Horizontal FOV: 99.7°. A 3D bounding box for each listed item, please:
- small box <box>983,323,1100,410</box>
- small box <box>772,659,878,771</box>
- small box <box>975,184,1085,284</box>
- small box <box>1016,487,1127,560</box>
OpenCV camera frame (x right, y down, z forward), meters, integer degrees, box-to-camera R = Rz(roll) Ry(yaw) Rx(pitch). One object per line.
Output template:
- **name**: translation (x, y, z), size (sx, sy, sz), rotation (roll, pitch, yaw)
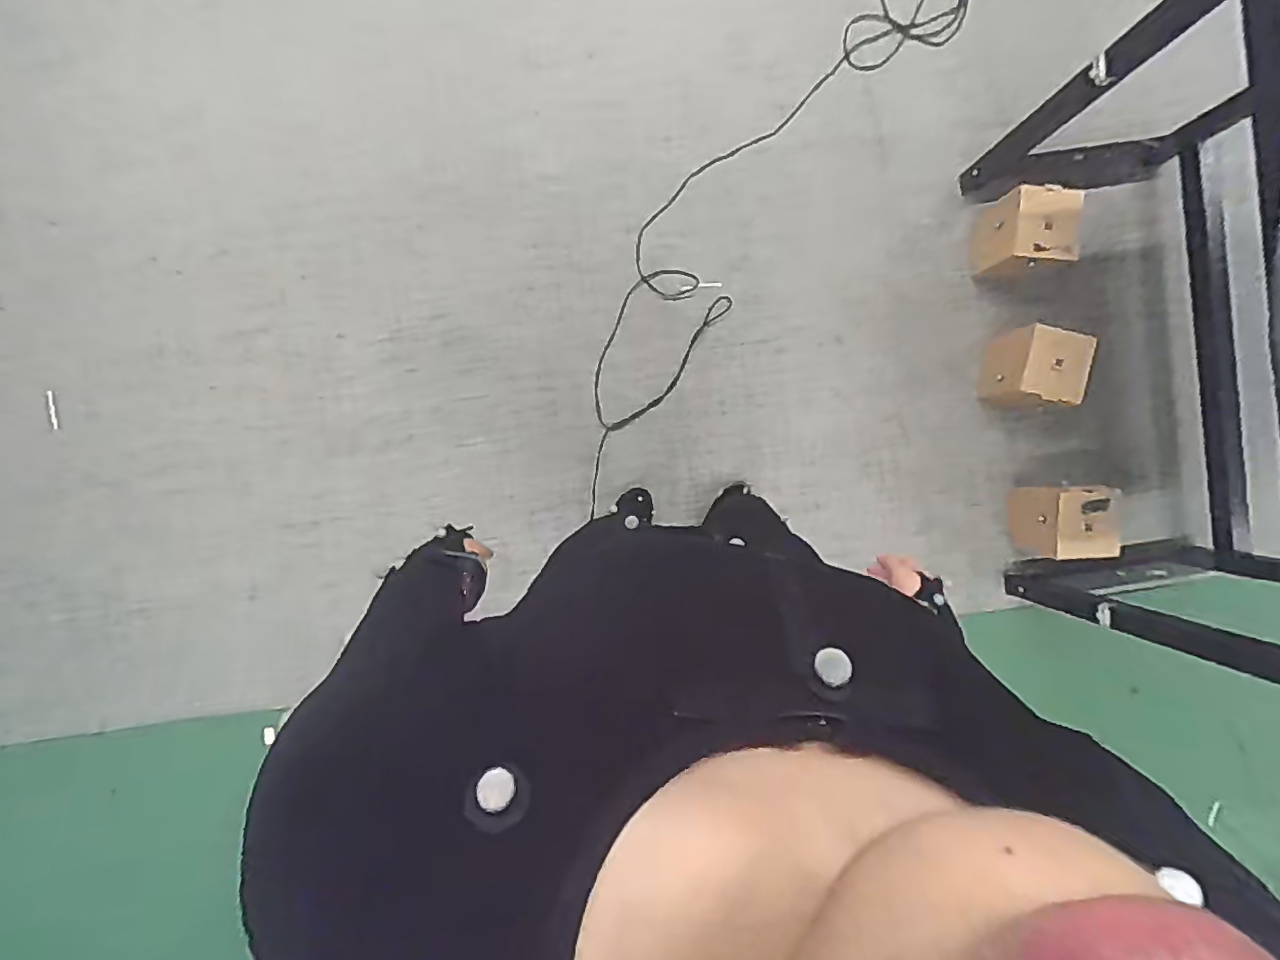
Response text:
- **small box**: translation (1.039, -0.288, 1.416), size (0.168, 0.176, 0.179), rotation (12, 90, -2)
- **small box**: translation (0.479, 0.609, 1.426), size (0.168, 0.176, 0.179), rotation (-43, 91, 0)
- **small box**: translation (1.006, -0.634, 1.407), size (0.168, 0.176, 0.179), rotation (4, 90, -1)
- **small box**: translation (1.131, 0.108, 1.427), size (0.168, 0.176, 0.179), rotation (-2, 92, -1)
